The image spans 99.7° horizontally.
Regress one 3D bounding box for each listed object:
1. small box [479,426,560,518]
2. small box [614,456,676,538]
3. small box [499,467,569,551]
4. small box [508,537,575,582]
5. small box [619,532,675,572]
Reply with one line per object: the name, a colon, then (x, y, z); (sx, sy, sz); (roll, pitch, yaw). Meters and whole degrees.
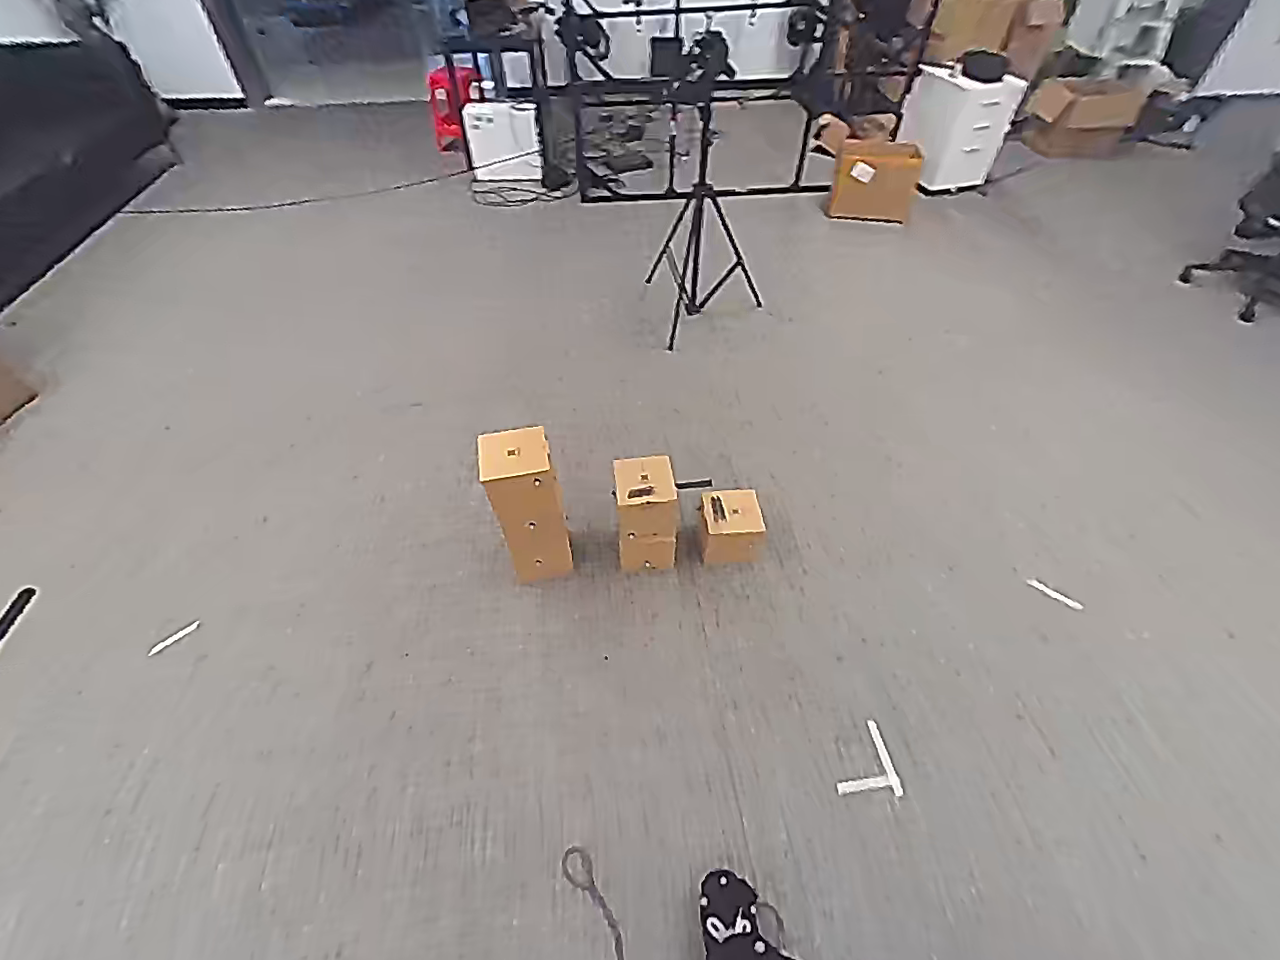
small box: (-0.318, -0.017, 1.431); (0.179, 0.176, 0.168); (-10, 51, -8)
small box: (0.014, 0.056, 1.578); (0.168, 0.176, 0.179); (-5, 48, -4)
small box: (-0.307, 0.088, 1.556); (0.179, 0.176, 0.168); (-9, 51, -9)
small box: (-0.308, 0.195, 1.679); (0.179, 0.176, 0.168); (-12, 50, -8)
small box: (0.019, 0.171, 1.696); (0.168, 0.176, 0.179); (-3, 49, -1)
